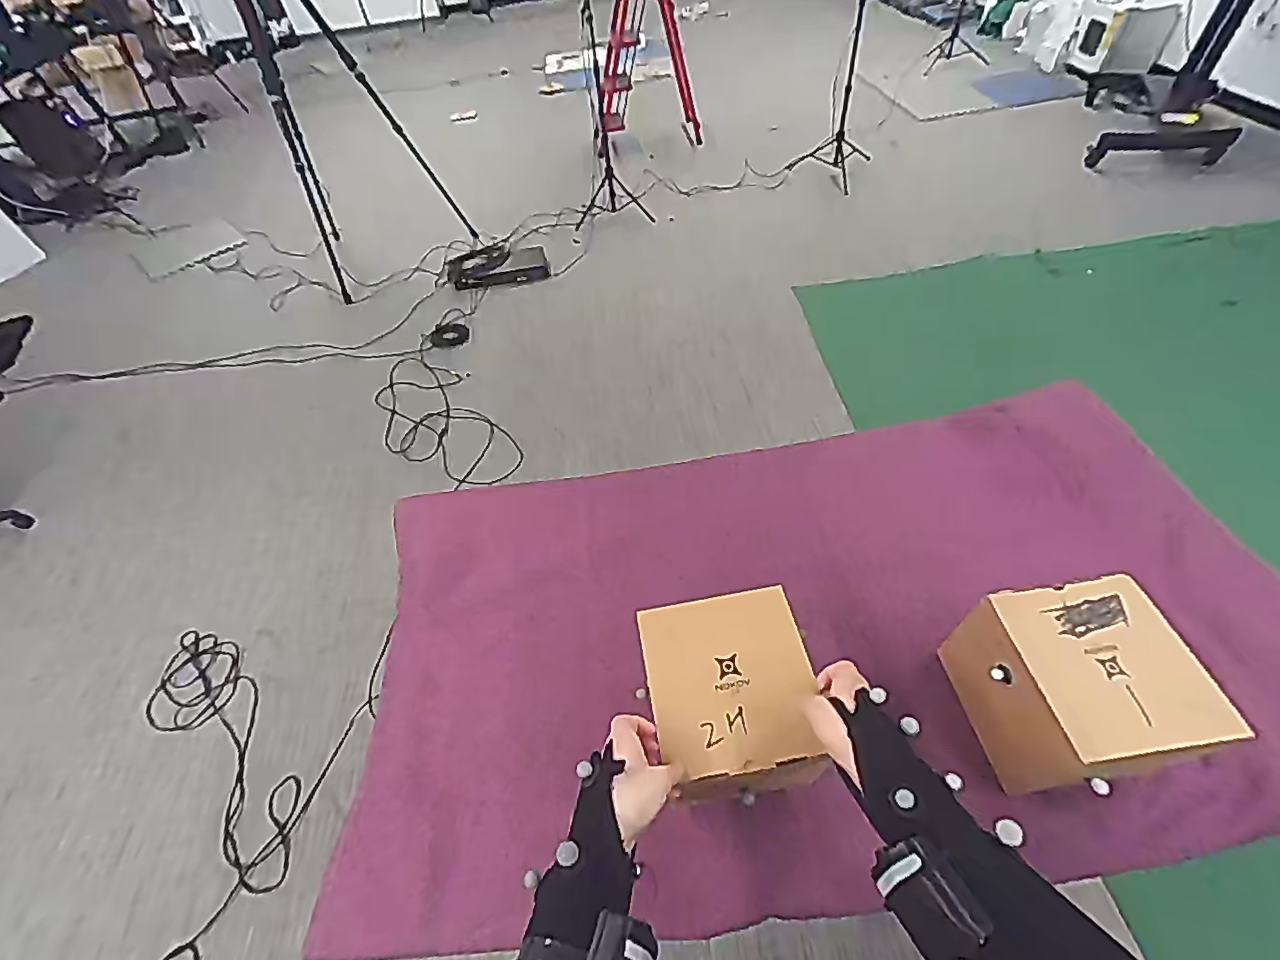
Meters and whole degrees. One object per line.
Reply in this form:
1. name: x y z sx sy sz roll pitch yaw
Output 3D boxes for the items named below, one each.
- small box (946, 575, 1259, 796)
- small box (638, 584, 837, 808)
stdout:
1. small box: 0.480 0.231 0.605 0.168 0.176 0.179 -9 51 0
2. small box: 0.095 0.242 0.602 0.168 0.176 0.179 -10 52 0
